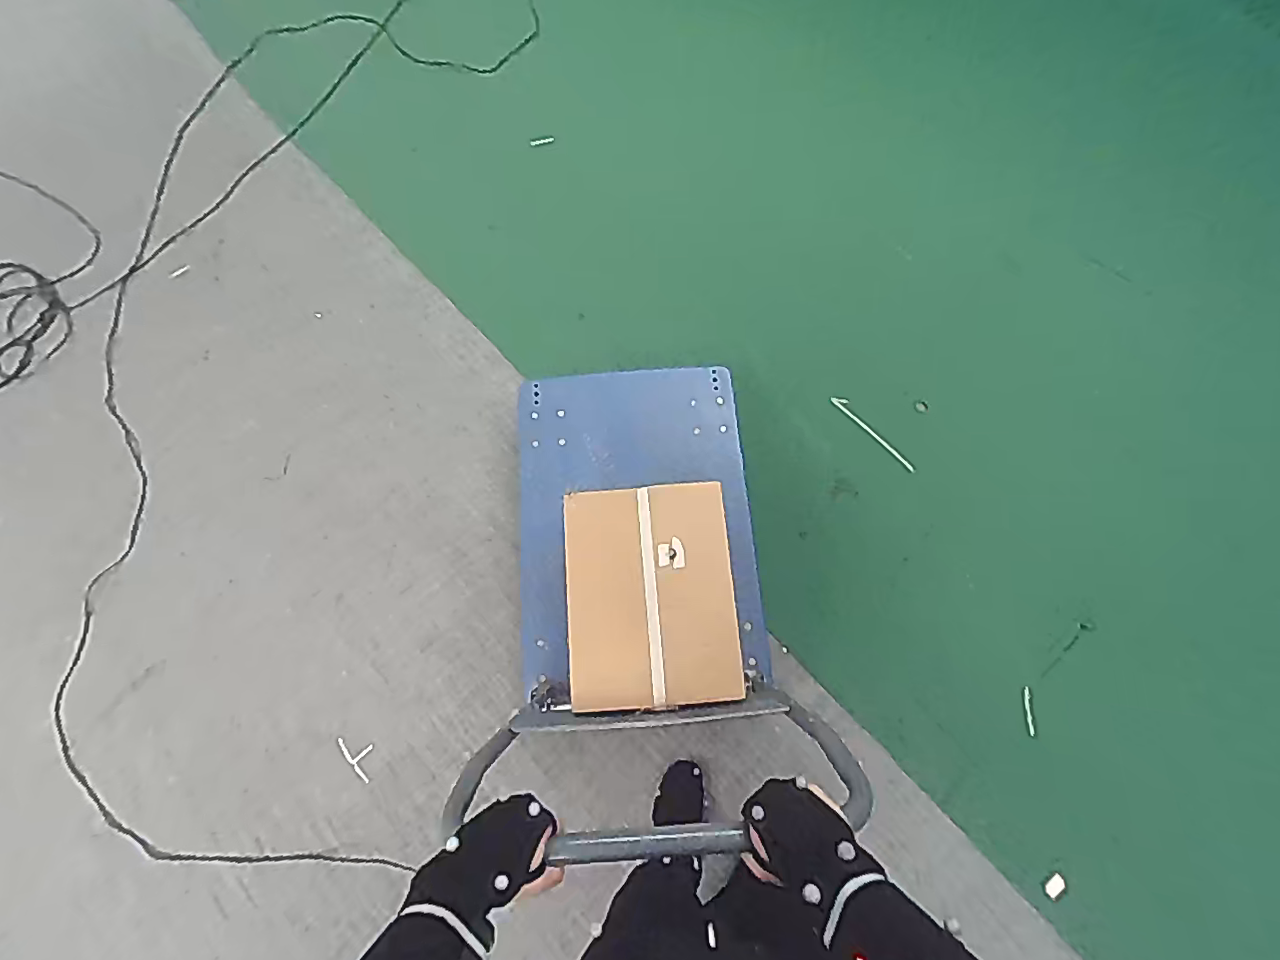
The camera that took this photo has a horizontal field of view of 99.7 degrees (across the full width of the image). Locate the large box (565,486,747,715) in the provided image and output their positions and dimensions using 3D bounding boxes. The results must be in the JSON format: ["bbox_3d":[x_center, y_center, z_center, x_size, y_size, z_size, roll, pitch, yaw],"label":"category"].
[{"bbox_3d":[0.026,0.258,1.157,0.320,0.320,0.408,-5,73,-1],"label":"large box"}]
